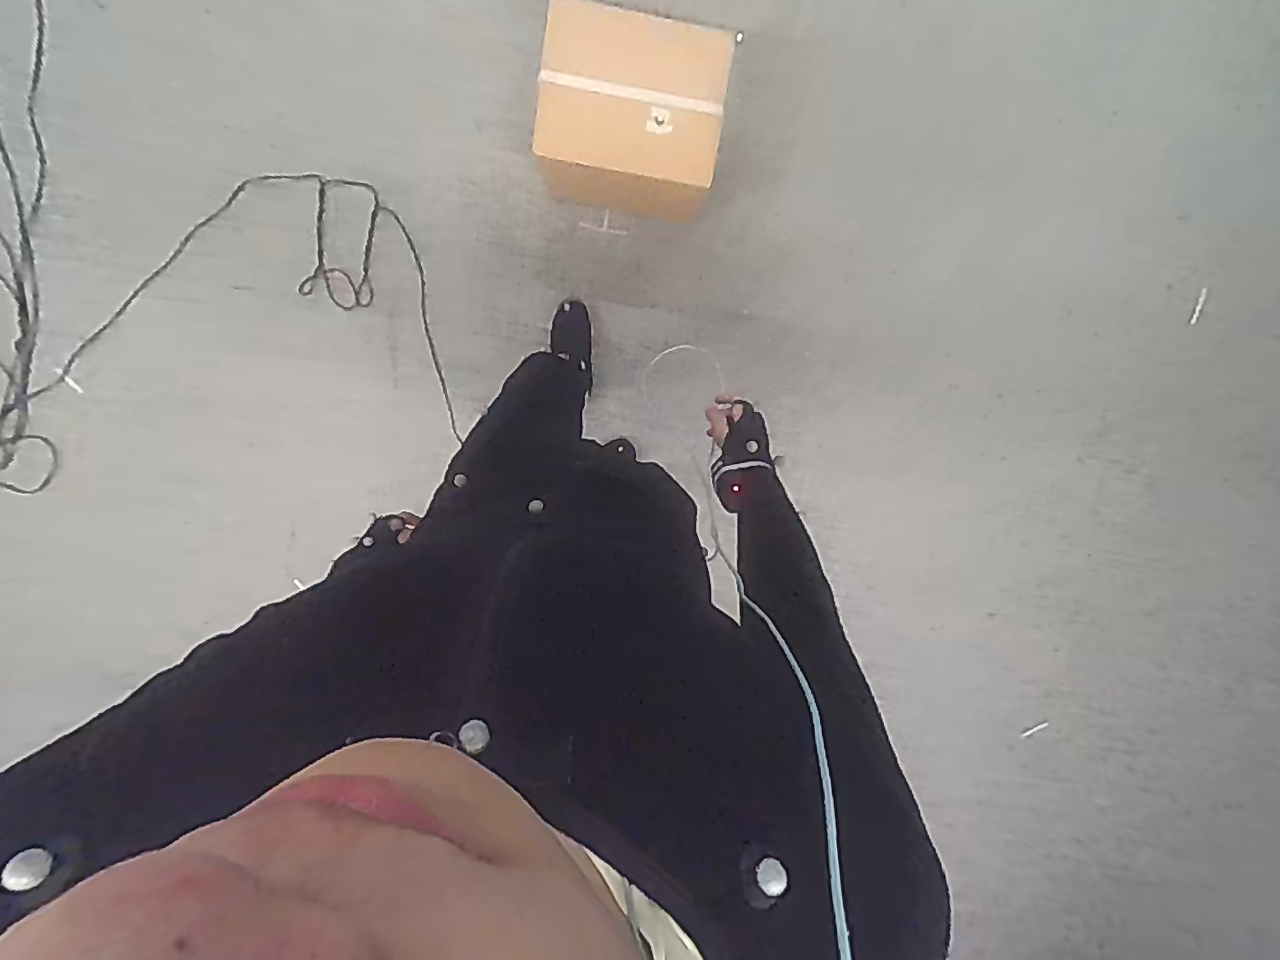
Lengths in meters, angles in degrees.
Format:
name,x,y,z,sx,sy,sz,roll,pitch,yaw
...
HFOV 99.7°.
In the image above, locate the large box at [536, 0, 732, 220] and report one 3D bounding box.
name,x,y,z,sx,sy,sz,roll,pitch,yaw
large box,-0.024,-0.869,1.324,0.408,0.320,0.320,8,100,-4
